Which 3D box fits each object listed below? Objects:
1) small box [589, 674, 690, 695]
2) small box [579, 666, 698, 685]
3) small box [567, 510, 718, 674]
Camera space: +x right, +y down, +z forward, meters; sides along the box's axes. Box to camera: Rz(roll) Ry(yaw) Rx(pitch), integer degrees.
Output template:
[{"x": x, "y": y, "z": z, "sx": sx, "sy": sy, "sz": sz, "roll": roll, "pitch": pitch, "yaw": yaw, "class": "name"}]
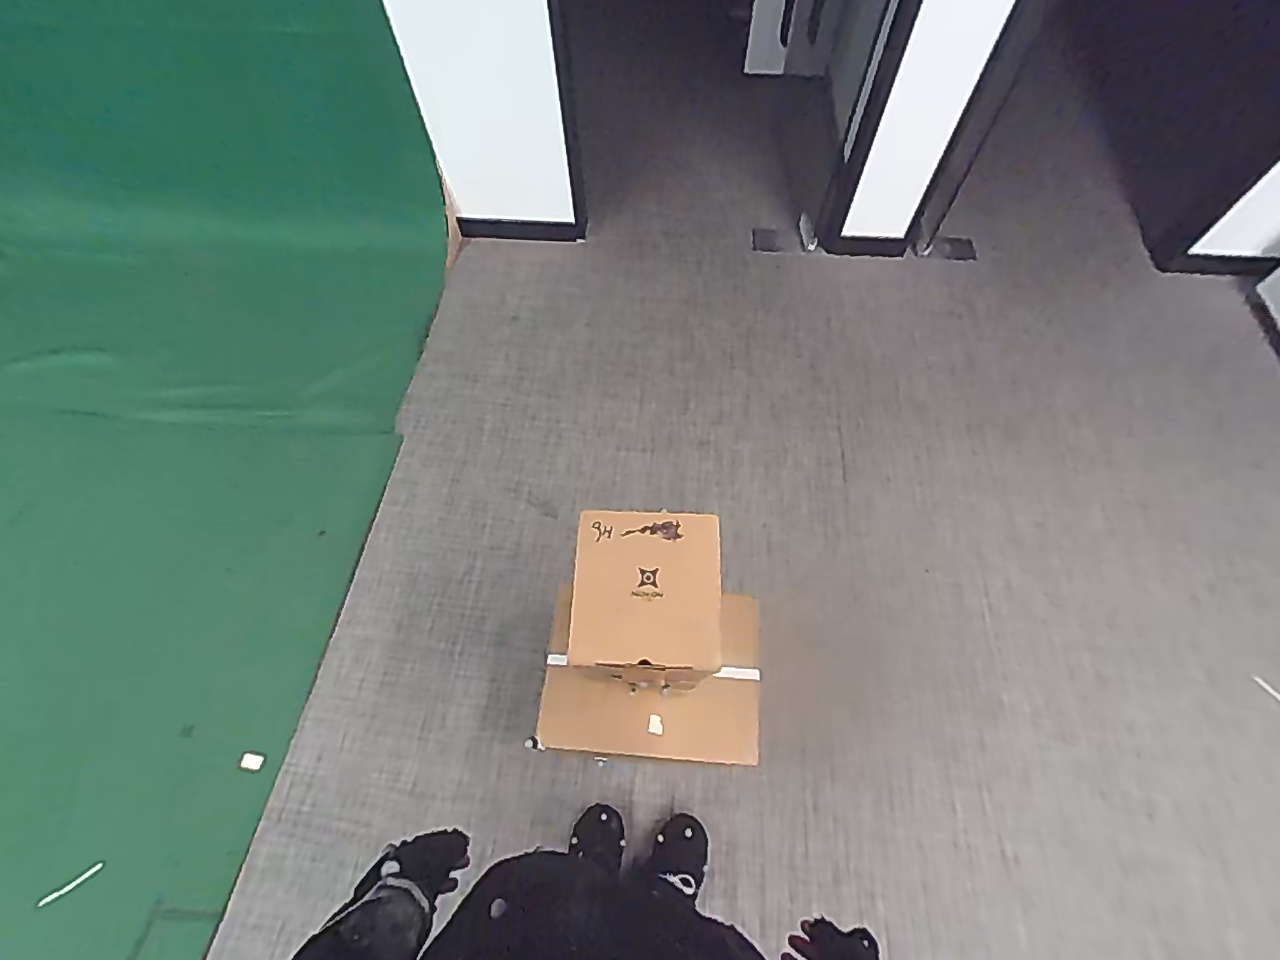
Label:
[{"x": 0.007, "y": 0.284, "z": 0.975, "sx": 0.179, "sy": 0.176, "sz": 0.168, "roll": 10, "pitch": 66, "yaw": 5, "class": "small box"}, {"x": 0.005, "y": 0.216, "z": 0.831, "sx": 0.168, "sy": 0.176, "sz": 0.179, "roll": 3, "pitch": 65, "yaw": 1, "class": "small box"}, {"x": 0.007, "y": 0.148, "z": 0.682, "sx": 0.168, "sy": 0.176, "sz": 0.179, "roll": 2, "pitch": 68, "yaw": 0, "class": "small box"}]
